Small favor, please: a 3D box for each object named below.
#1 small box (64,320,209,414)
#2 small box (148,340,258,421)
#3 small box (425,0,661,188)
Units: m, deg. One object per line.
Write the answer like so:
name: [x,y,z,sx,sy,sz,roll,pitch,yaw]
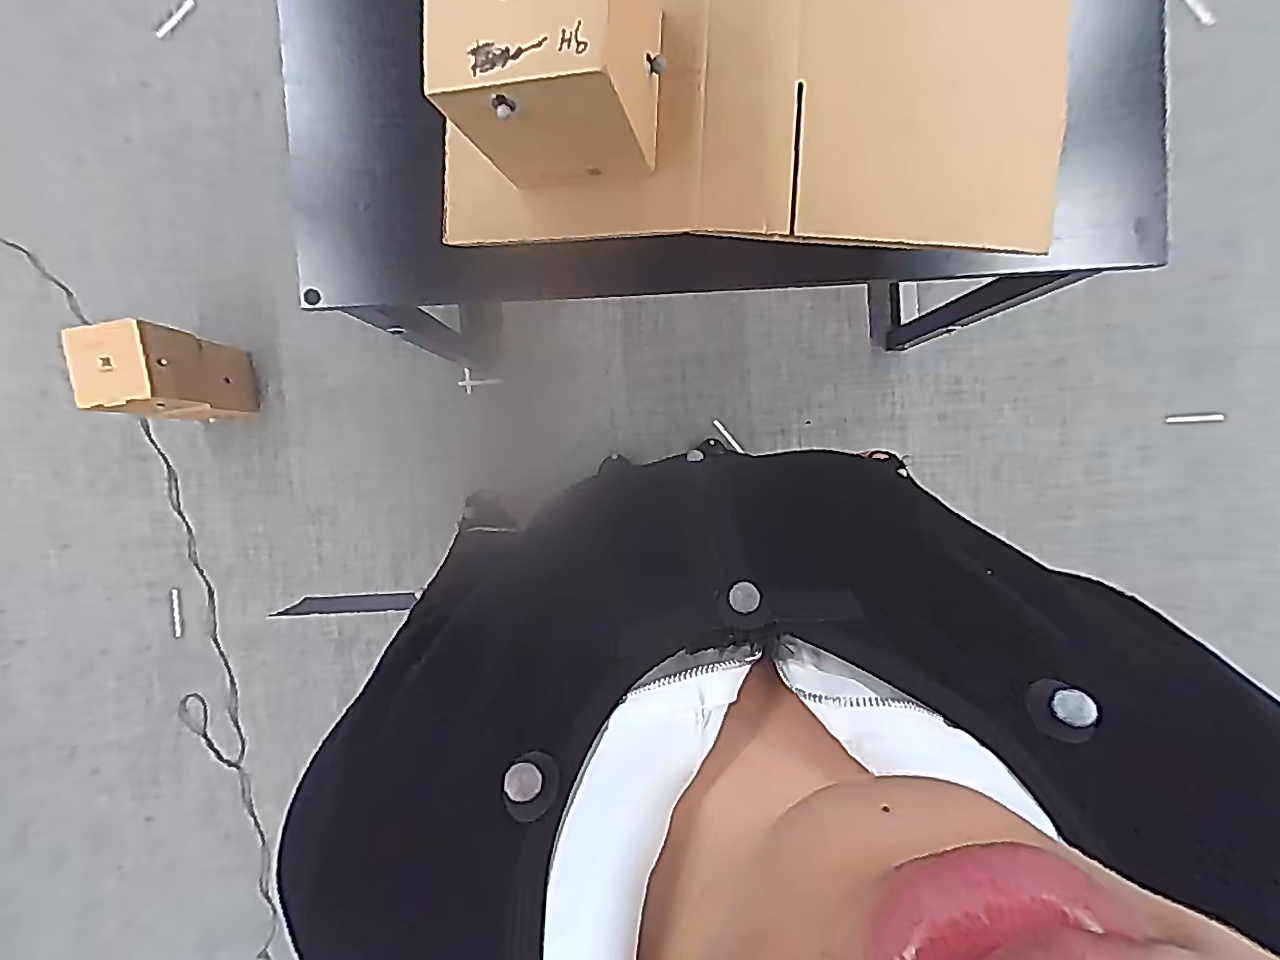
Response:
small box: [-1.143,-0.250,1.244,0.168,0.176,0.179,-10,92,0]
small box: [-1.141,-0.252,1.407,0.168,0.176,0.179,-7,93,1]
small box: [-0.078,-0.409,0.511,0.168,0.176,0.179,3,92,15]
